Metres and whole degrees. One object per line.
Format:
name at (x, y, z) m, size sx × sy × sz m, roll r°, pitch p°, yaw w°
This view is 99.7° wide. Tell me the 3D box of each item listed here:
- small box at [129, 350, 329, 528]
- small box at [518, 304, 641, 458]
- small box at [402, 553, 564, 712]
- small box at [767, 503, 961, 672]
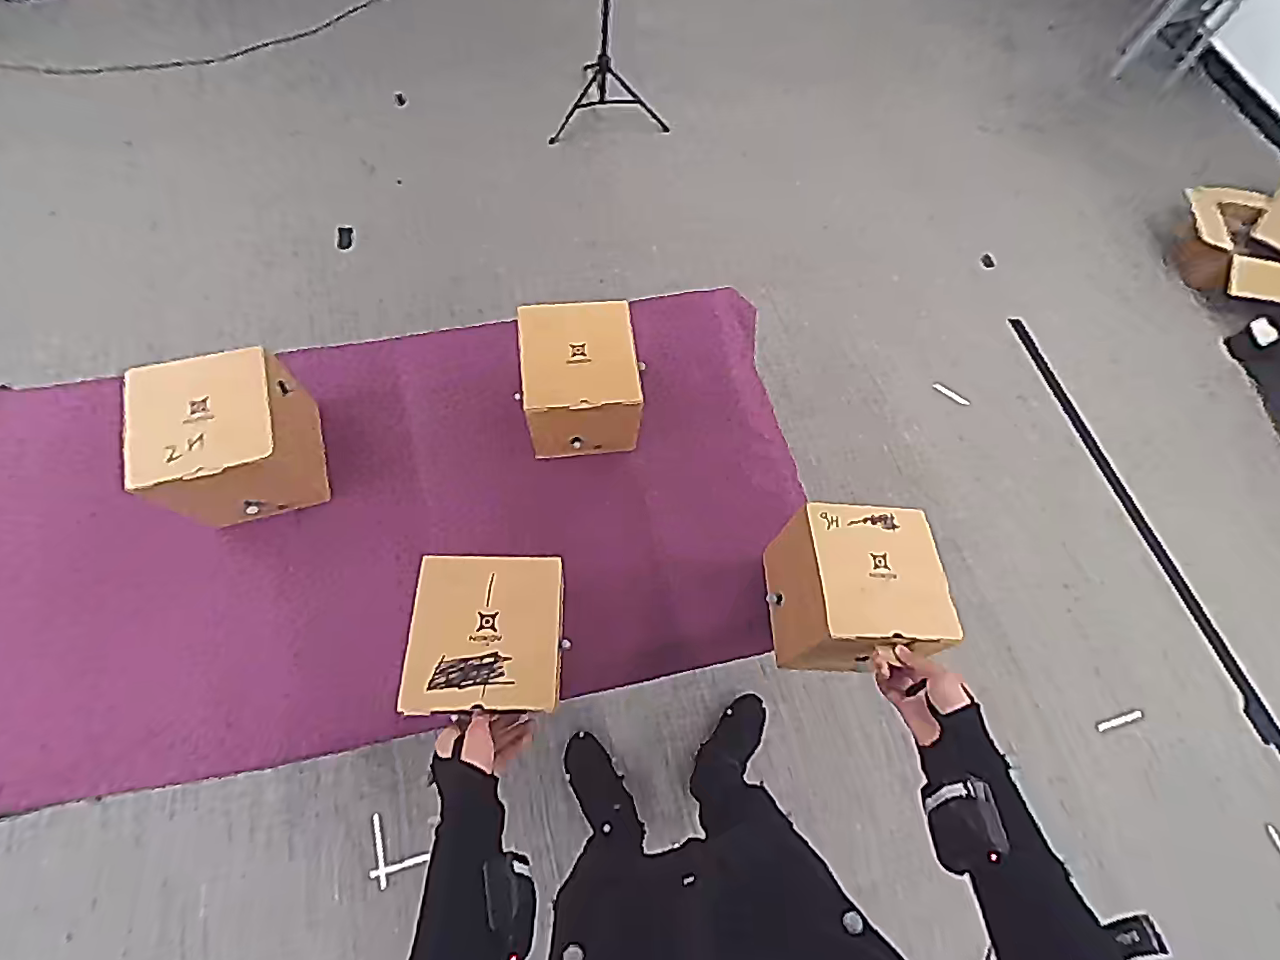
small box at (-0.568, -0.052, 0.766) m, size 0.168 × 0.176 × 0.179 m, roll -15°, pitch 70°, yaw -11°
small box at (-0.098, -0.151, 0.854) m, size 0.168 × 0.176 × 0.179 m, roll -6°, pitch 70°, yaw -8°
small box at (-0.186, 0.200, 0.694) m, size 0.168 × 0.176 × 0.179 m, roll 2°, pitch 67°, yaw -7°
small box at (0.280, 0.150, 0.721) m, size 0.168 × 0.176 × 0.179 m, roll 5°, pitch 59°, yaw -6°
